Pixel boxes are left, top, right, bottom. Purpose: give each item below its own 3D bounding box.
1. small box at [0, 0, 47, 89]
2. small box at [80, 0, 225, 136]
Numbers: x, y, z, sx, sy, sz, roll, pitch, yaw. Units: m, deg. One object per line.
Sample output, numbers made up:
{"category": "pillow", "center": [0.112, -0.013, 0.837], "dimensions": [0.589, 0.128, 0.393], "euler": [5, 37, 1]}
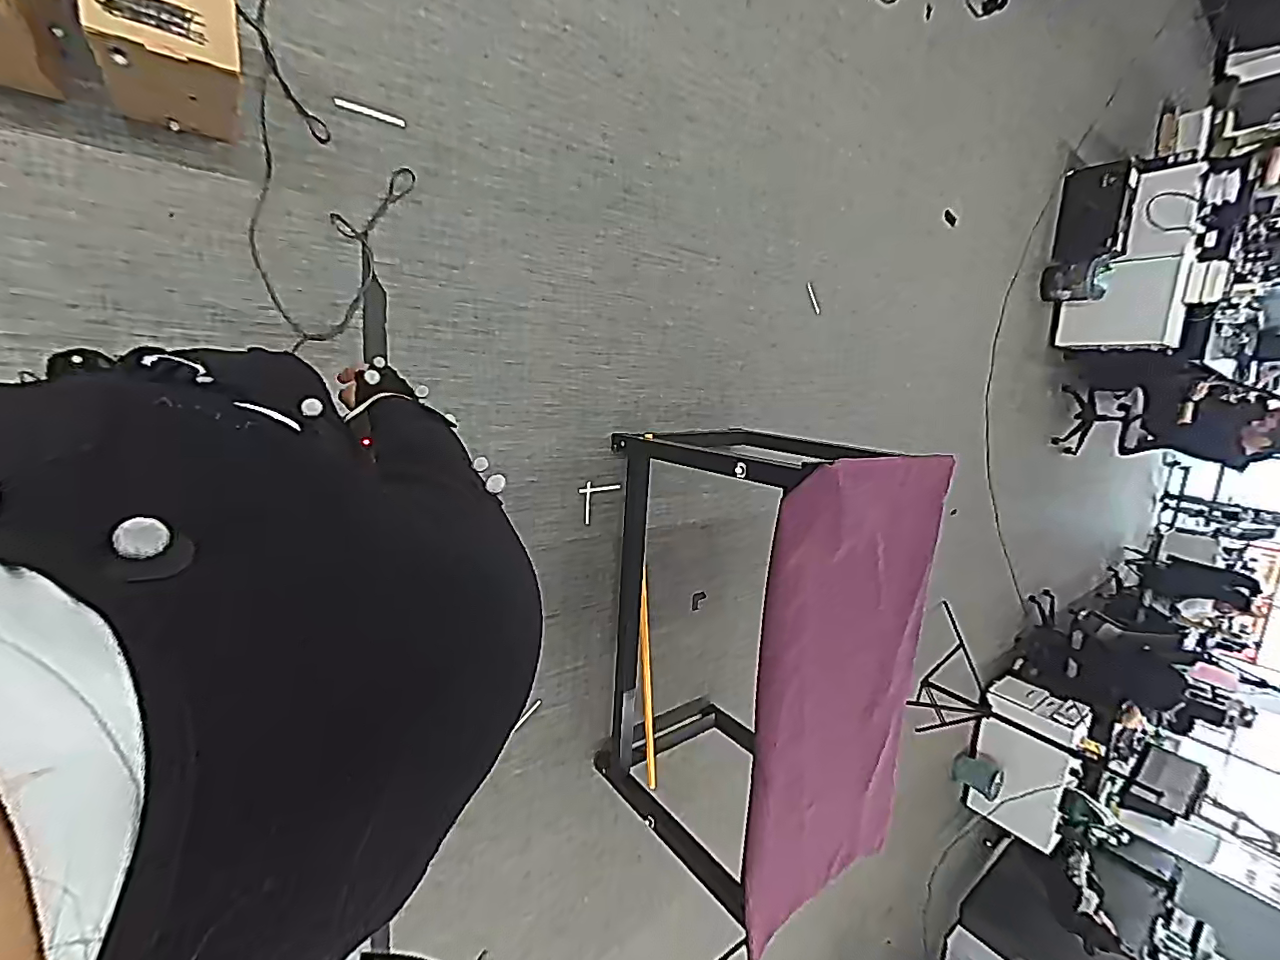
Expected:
{"category": "small box", "center": [-0.985, -0.691, 0.756], "dimensions": [0.179, 0.176, 0.168], "euler": [-3, 103, -37]}
{"category": "small box", "center": [-0.801, -0.710, 0.896], "dimensions": [0.168, 0.176, 0.179], "euler": [-5, 105, -38]}
